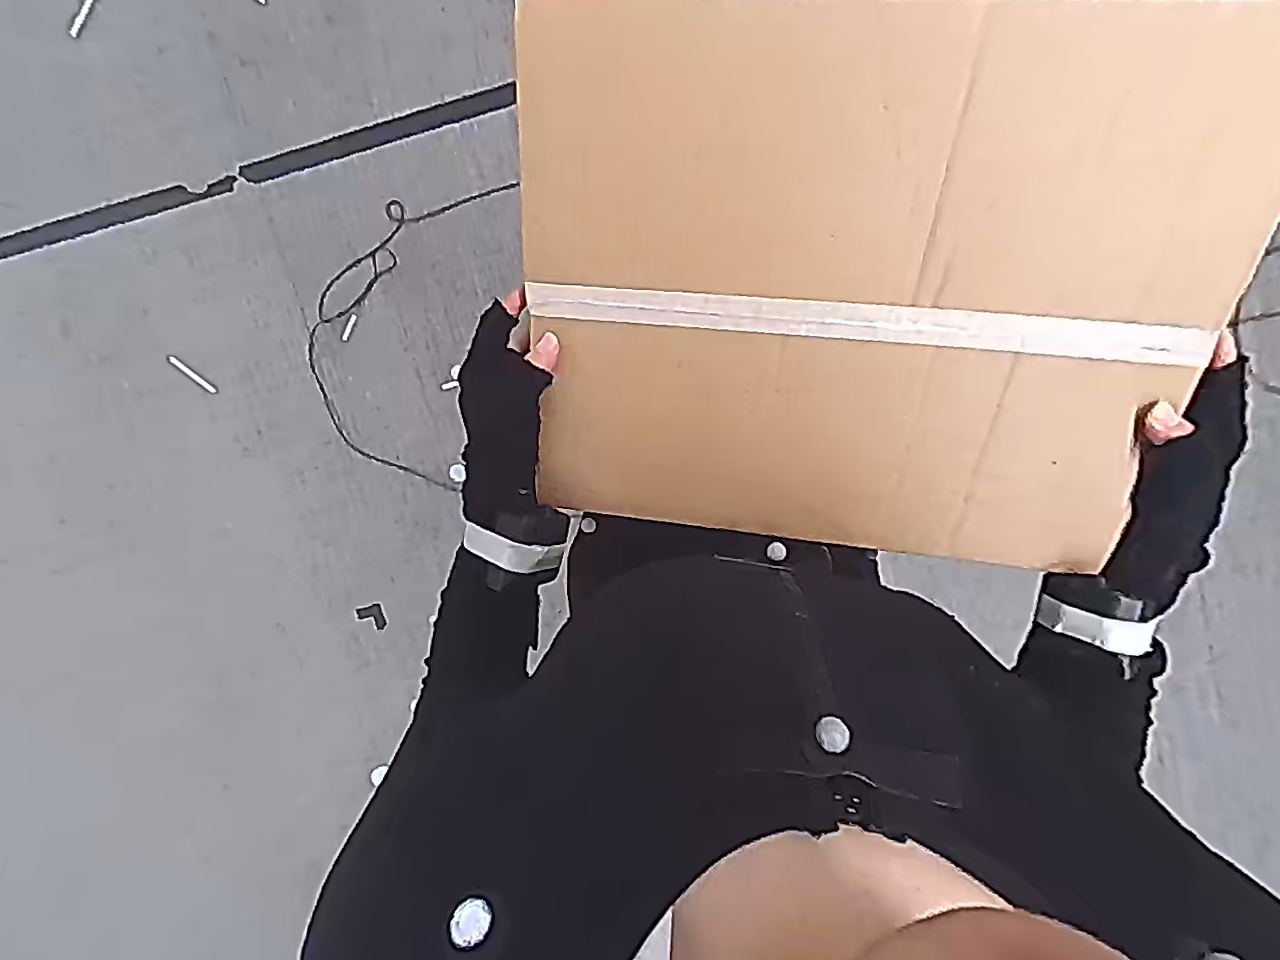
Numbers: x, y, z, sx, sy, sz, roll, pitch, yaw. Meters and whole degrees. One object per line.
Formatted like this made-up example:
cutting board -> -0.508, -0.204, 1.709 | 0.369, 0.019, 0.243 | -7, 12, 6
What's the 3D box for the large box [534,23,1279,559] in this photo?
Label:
large box -> 0.149, -0.162, 0.483 | 0.408, 0.320, 0.320 | 7, 117, 7
